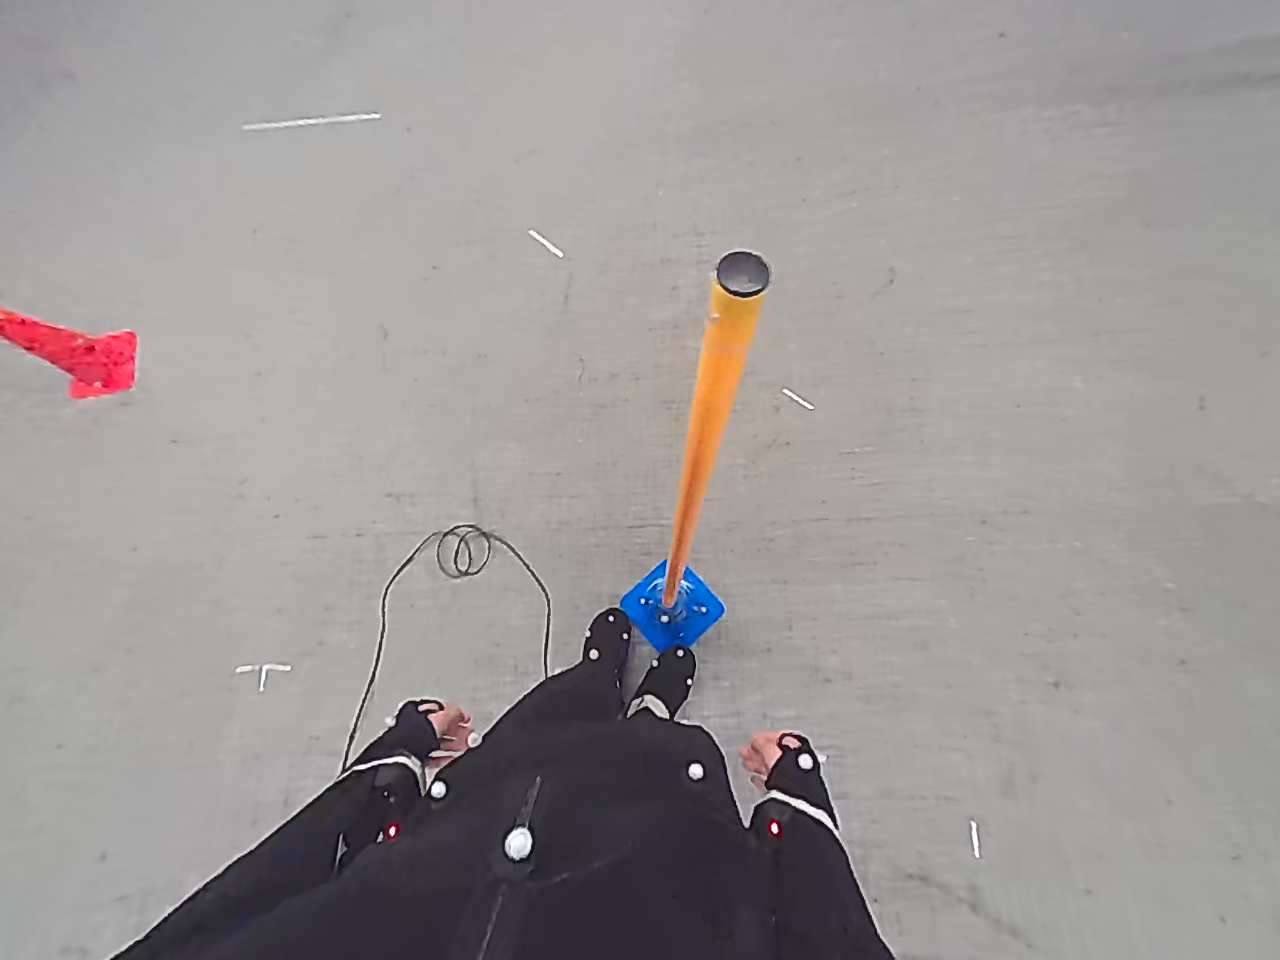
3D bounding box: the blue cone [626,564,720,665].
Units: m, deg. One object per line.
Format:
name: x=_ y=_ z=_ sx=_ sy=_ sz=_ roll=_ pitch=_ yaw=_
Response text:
blue cone: x=0.071 y=0.280 z=1.166 sx=0.193 sy=0.380 sz=0.192 roll=-42 pitch=77 yaw=-8
